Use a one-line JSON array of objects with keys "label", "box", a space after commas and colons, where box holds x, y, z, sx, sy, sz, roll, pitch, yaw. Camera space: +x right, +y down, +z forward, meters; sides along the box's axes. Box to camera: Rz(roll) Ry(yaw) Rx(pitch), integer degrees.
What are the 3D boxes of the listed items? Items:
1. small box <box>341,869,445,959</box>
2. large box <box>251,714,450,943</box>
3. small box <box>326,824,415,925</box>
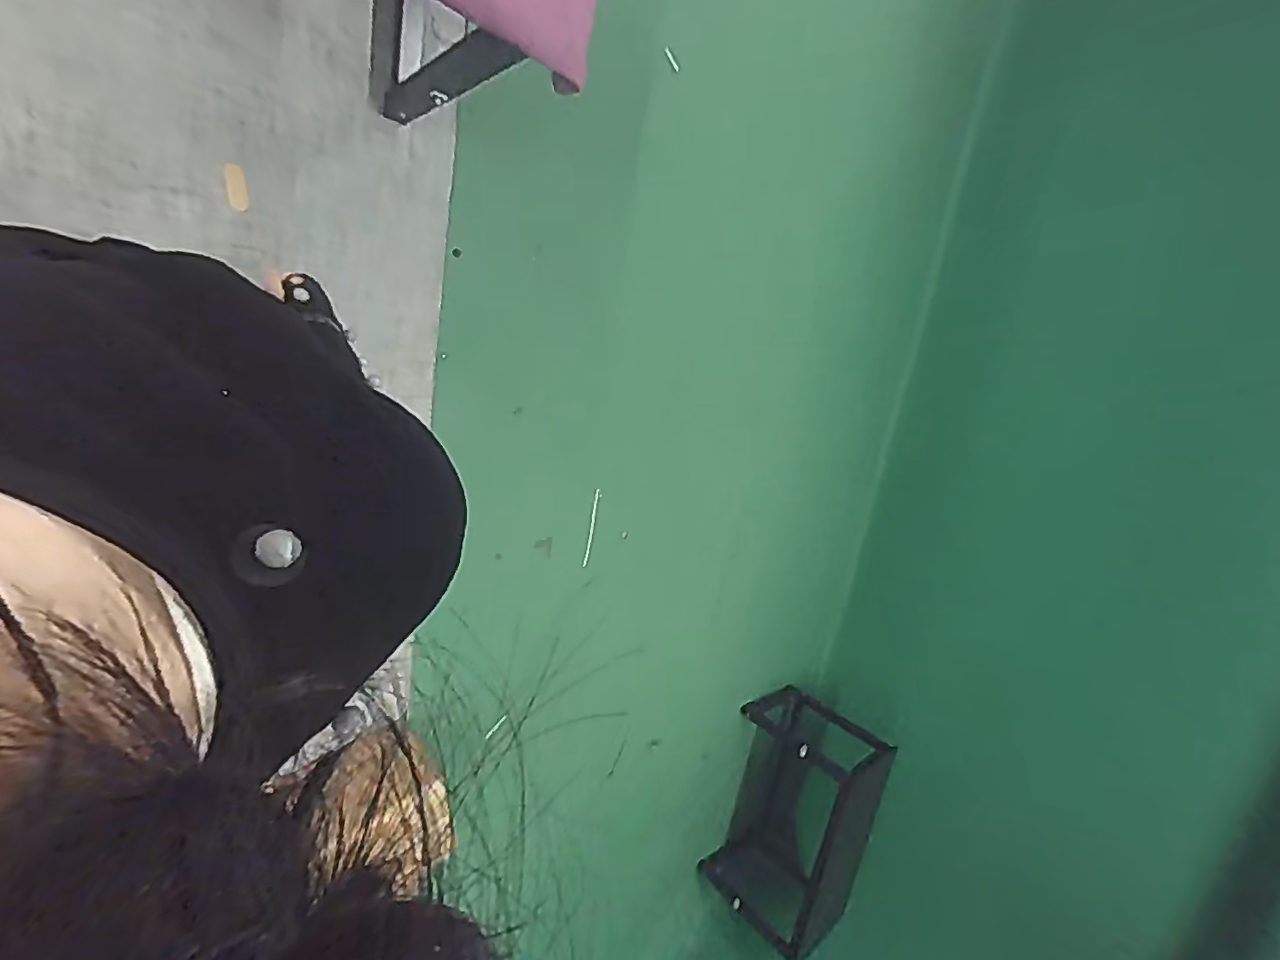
[{"label": "small box", "box": [-0.579, 1.075, 1.269, 0.179, 0.176, 0.168, -11, 113, -41]}, {"label": "large box", "box": [-0.832, 0.980, 1.577, 0.408, 0.320, 0.320, -20, 120, -40]}, {"label": "small box", "box": [-0.685, 1.024, 1.381, 0.168, 0.176, 0.179, -13, 114, -41]}]
